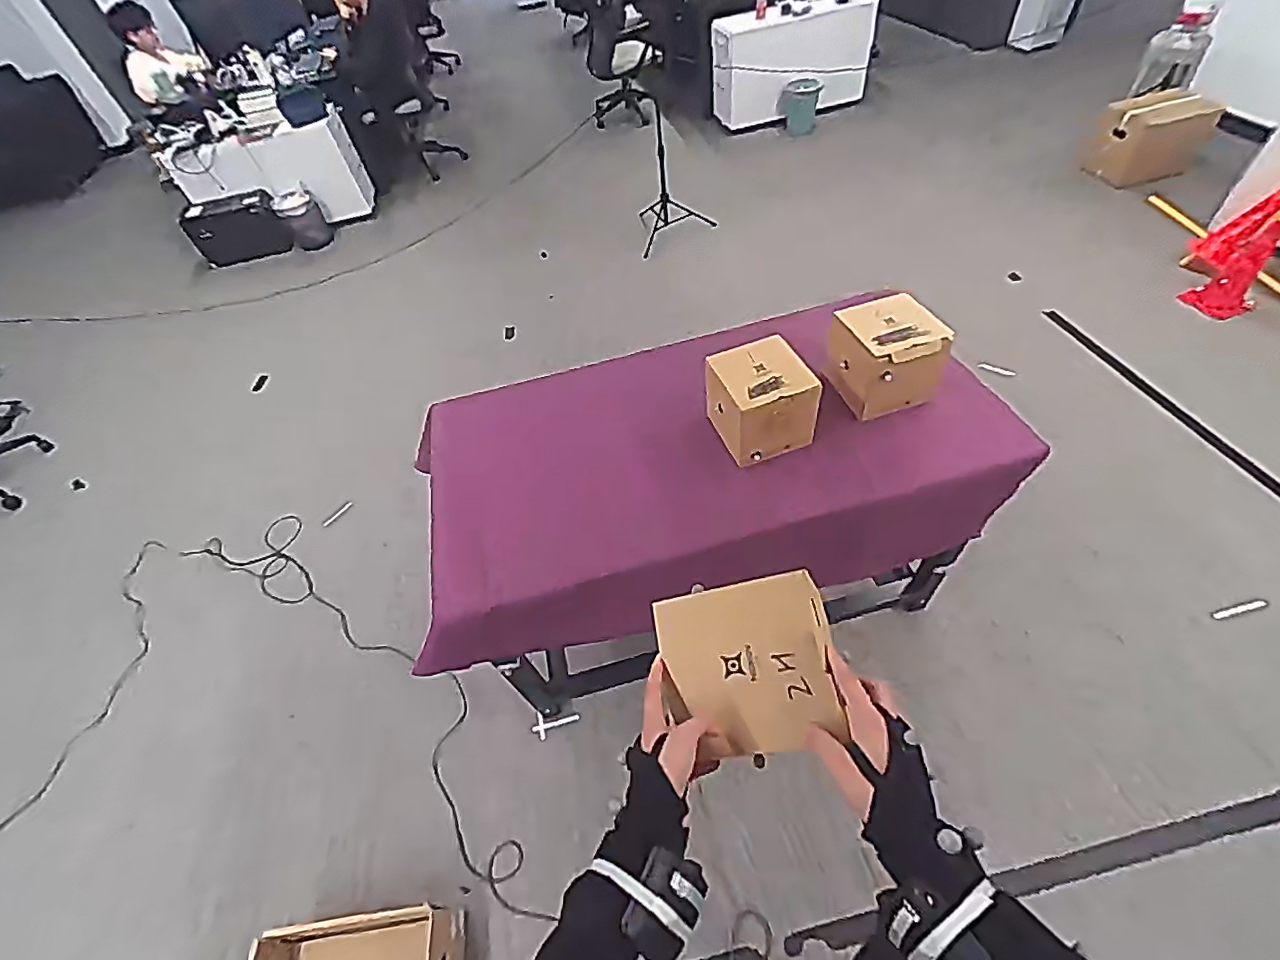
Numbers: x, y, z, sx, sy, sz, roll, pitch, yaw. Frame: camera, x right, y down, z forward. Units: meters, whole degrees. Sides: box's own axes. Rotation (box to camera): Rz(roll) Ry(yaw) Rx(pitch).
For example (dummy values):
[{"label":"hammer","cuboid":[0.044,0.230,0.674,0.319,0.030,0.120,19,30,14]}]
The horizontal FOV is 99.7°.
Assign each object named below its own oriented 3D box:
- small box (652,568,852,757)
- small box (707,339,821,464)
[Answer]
[{"label":"small box","cuboid":[0.132,0.215,0.625,0.179,0.176,0.168,-17,65,16]},{"label":"small box","cuboid":[0.248,-0.153,1.111,0.168,0.176,0.179,-19,50,-6]}]
